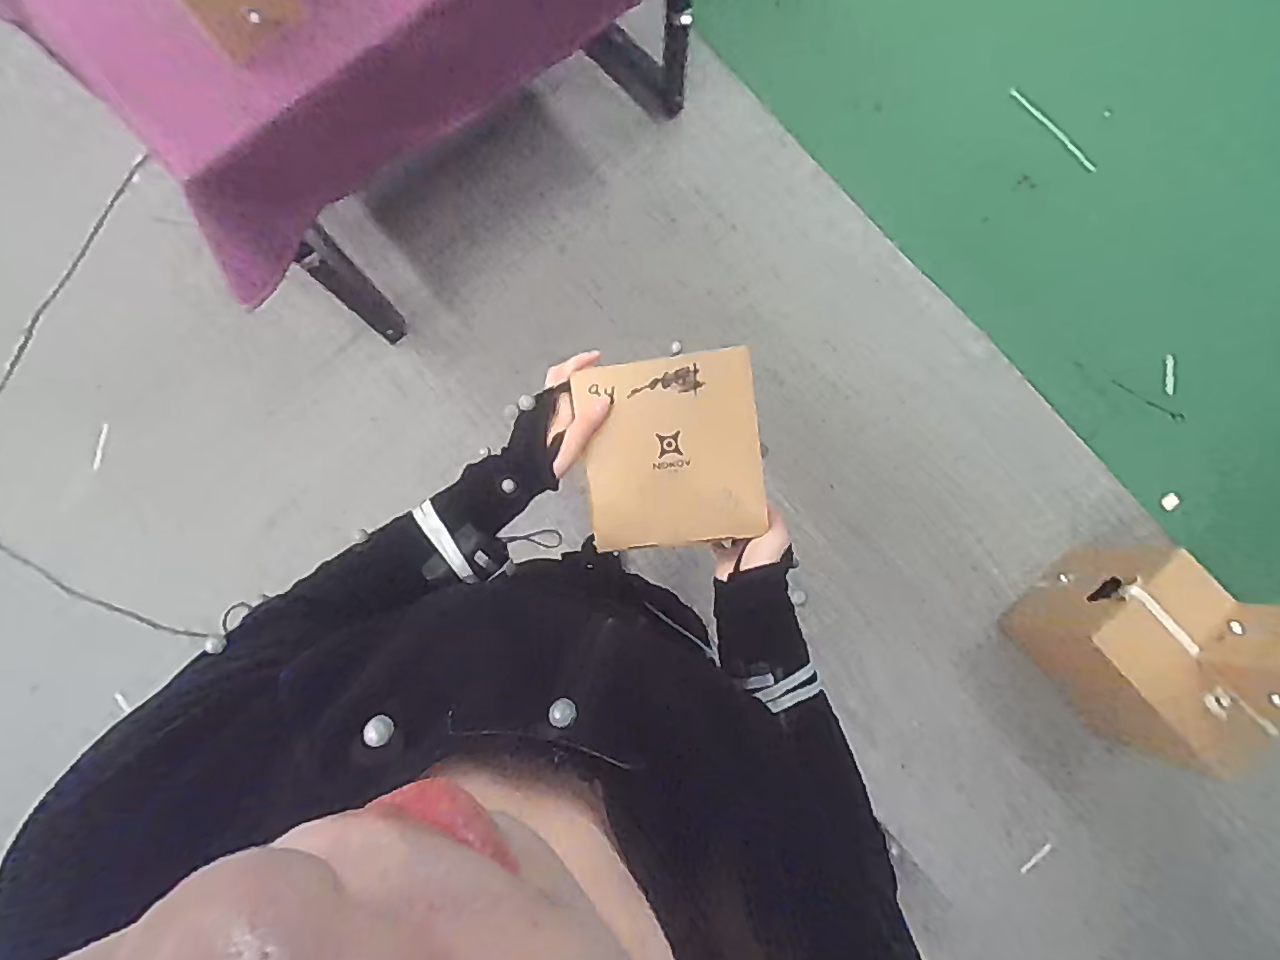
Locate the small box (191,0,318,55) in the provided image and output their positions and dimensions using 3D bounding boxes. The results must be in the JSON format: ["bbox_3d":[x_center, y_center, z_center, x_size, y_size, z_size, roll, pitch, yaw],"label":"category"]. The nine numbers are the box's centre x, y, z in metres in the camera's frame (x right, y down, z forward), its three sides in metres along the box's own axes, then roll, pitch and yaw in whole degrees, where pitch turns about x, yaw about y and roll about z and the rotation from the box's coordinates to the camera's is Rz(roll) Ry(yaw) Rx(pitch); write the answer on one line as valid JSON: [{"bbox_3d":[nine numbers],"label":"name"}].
[{"bbox_3d":[-0.658,-0.829,0.842,0.168,0.176,0.179,-40,84,-5],"label":"small box"}]

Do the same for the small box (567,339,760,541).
[{"bbox_3d":[0.033,-0.048,0.579,0.168,0.176,0.179,-7,100,8],"label":"small box"}]

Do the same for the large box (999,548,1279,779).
[{"bbox_3d":[1.218,0.415,1.330,0.320,0.320,0.408,-39,85,-6],"label":"large box"}]
